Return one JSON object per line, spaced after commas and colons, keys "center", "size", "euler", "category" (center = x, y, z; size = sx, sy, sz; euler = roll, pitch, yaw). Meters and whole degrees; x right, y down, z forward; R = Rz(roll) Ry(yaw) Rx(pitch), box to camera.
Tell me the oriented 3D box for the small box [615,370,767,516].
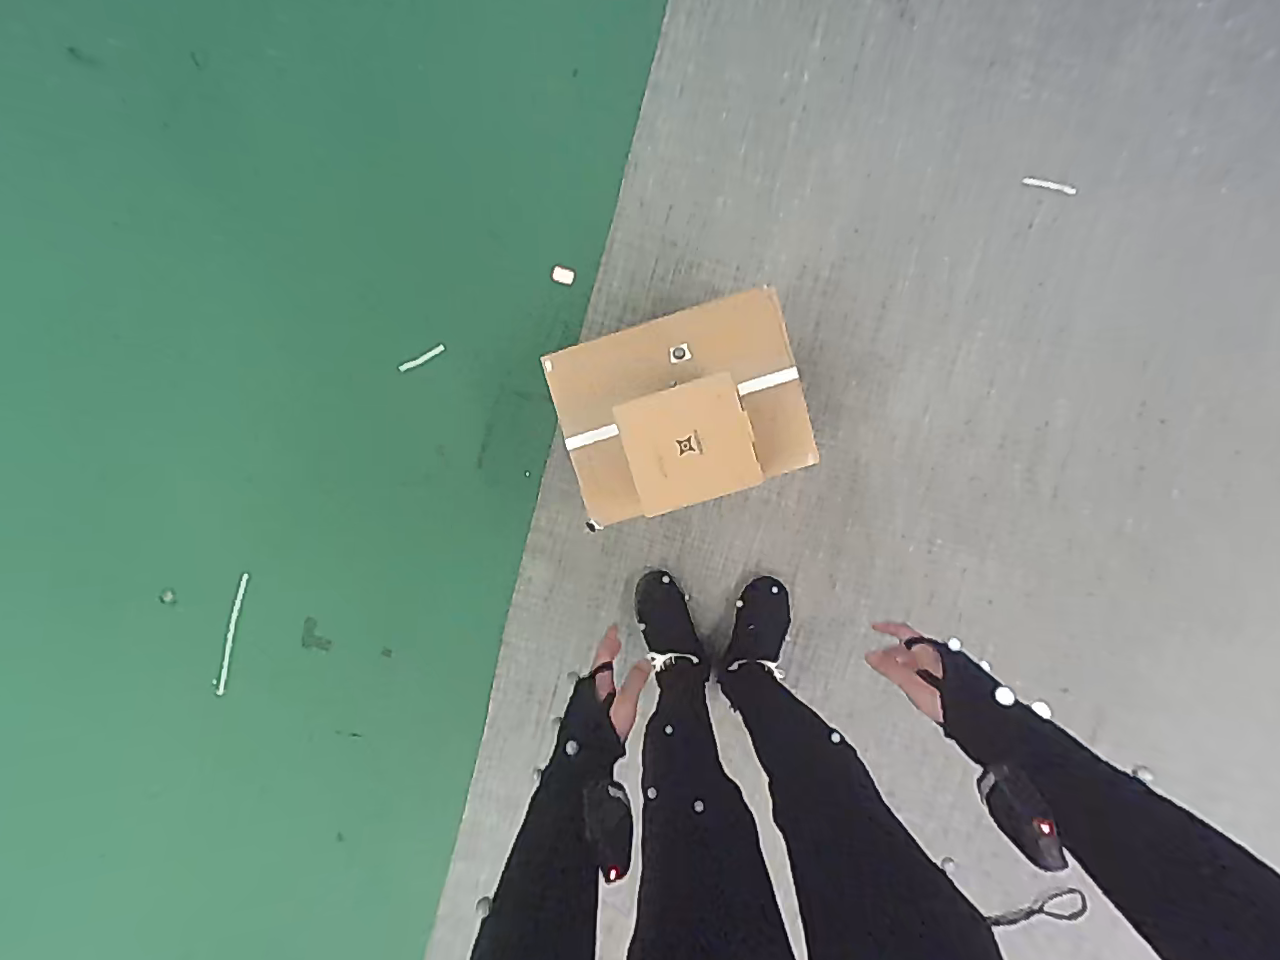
{"center": [0.073, -0.057, 0.813], "size": [0.179, 0.176, 0.168], "euler": [-16, 93, 5], "category": "small box"}
